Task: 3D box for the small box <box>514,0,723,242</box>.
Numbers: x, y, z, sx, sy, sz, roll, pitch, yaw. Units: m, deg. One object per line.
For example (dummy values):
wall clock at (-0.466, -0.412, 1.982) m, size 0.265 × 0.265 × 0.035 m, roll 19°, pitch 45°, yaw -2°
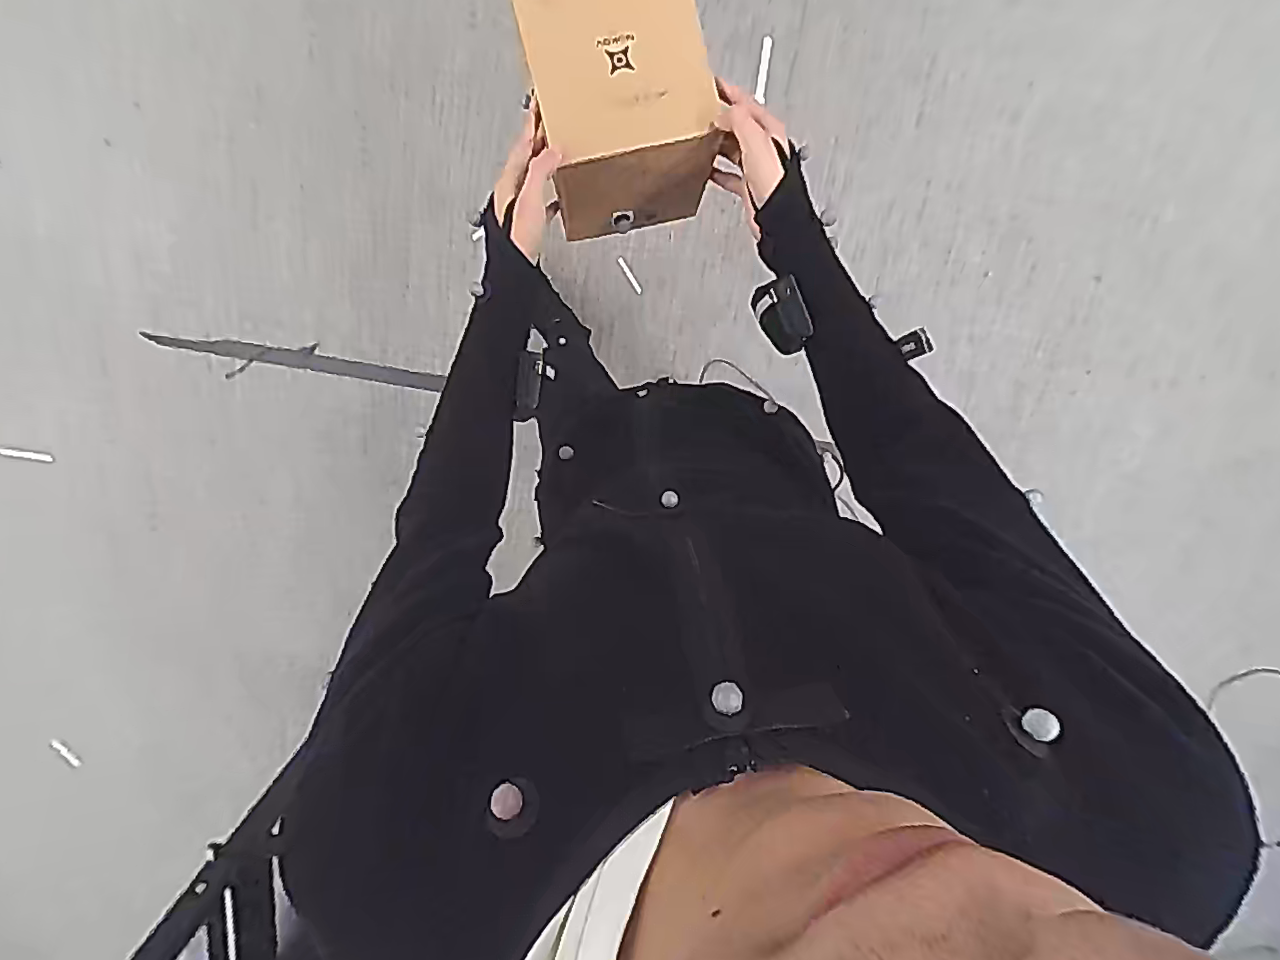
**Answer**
small box at (-0.027, -0.387, 0.574) m, size 0.168 × 0.176 × 0.179 m, roll -14°, pitch 90°, yaw -4°
